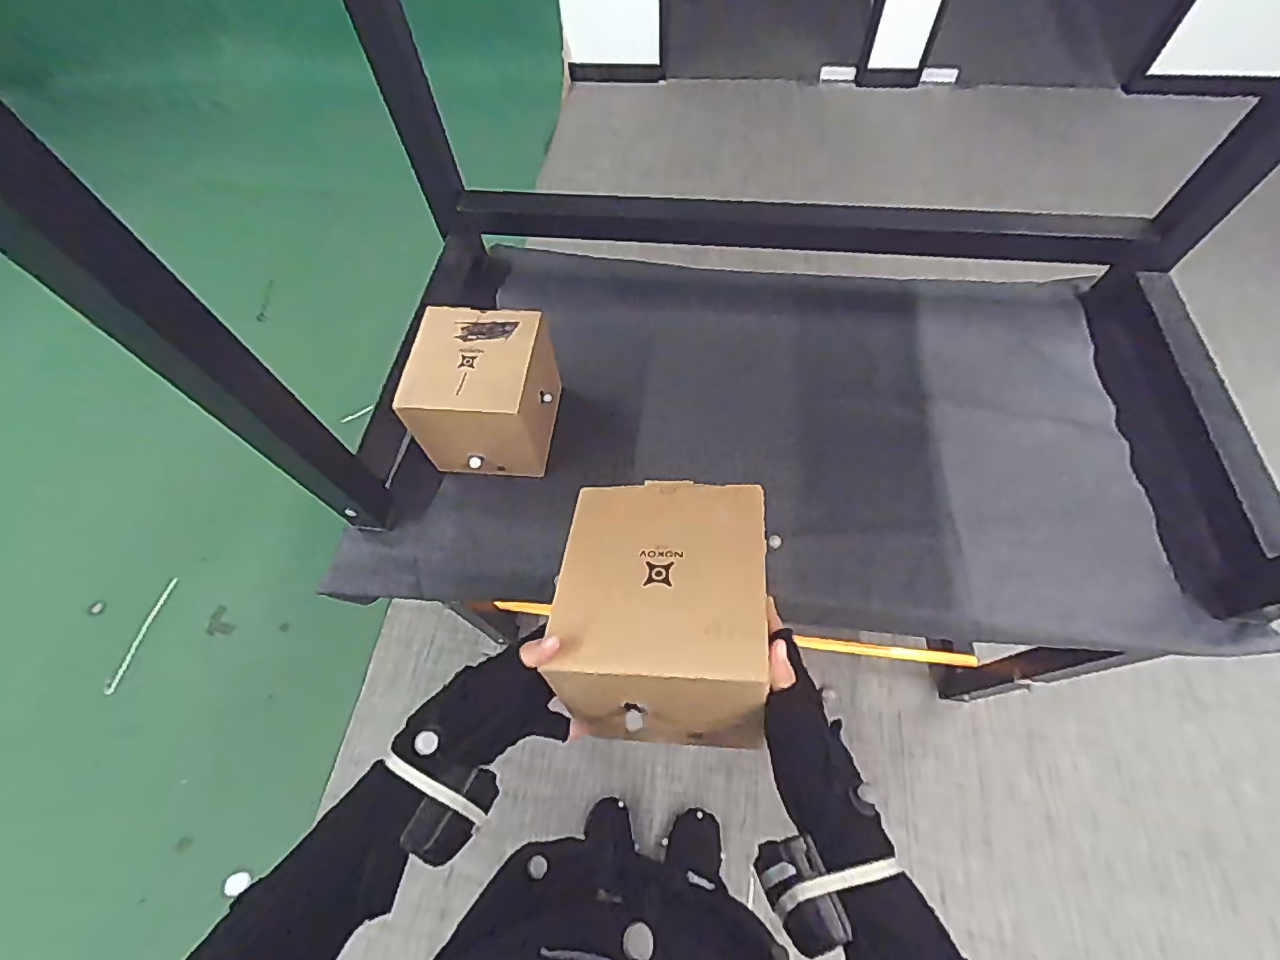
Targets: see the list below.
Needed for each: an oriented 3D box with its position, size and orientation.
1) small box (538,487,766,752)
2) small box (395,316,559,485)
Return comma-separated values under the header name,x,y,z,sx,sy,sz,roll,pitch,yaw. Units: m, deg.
name,x,y,z,sx,sy,sz,roll,pitch,yaw
small box,0.027,0.127,0.489,0.168,0.176,0.179,-1,45,11
small box,-0.220,-0.113,0.788,0.168,0.176,0.179,3,61,5
